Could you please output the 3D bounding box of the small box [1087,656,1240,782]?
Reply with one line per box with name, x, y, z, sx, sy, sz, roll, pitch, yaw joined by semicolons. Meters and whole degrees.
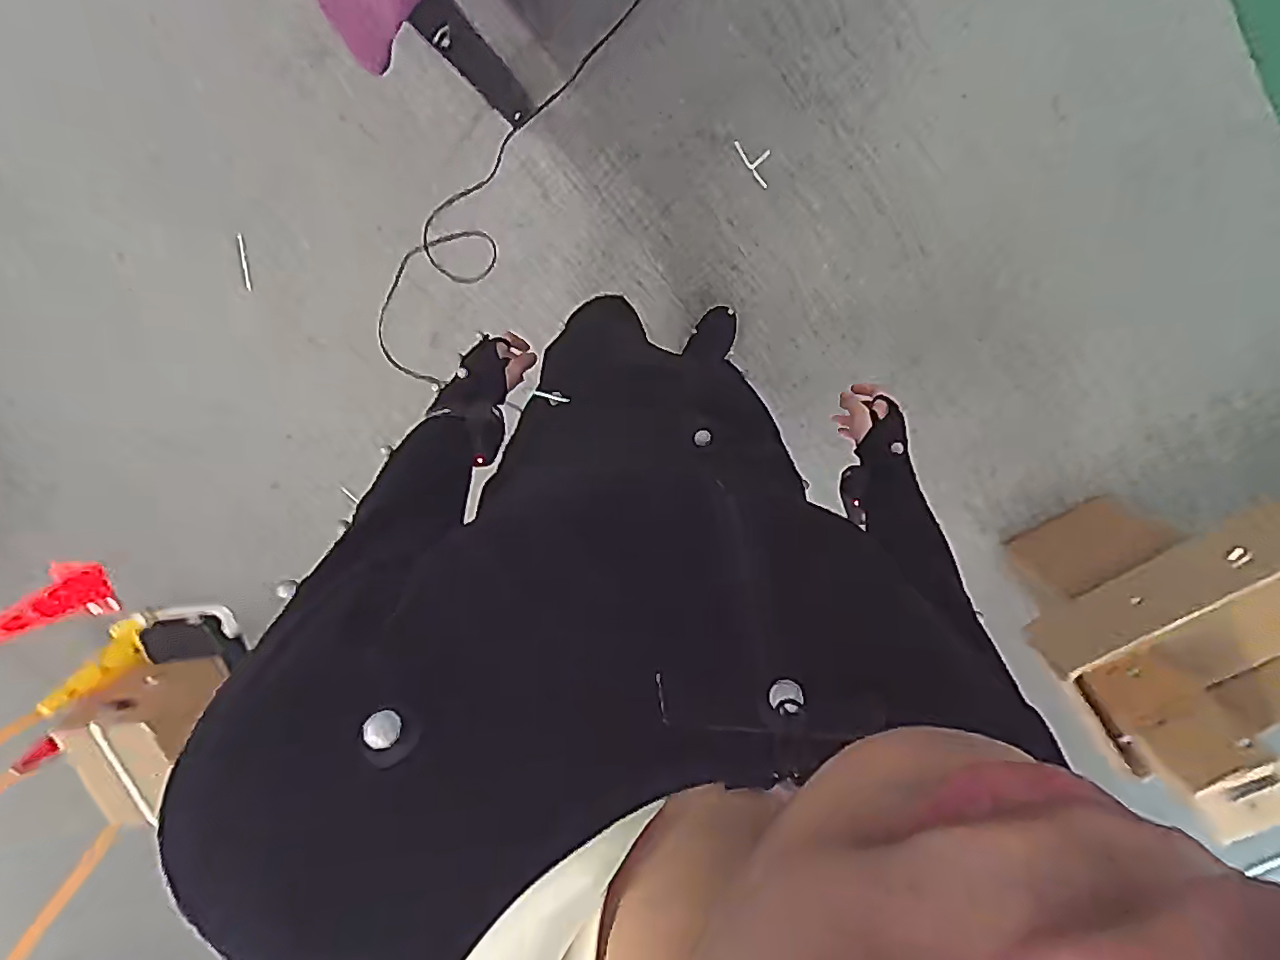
small box;1.212;0.552;1.263;0.168;0.176;0.179;-35;103;16
